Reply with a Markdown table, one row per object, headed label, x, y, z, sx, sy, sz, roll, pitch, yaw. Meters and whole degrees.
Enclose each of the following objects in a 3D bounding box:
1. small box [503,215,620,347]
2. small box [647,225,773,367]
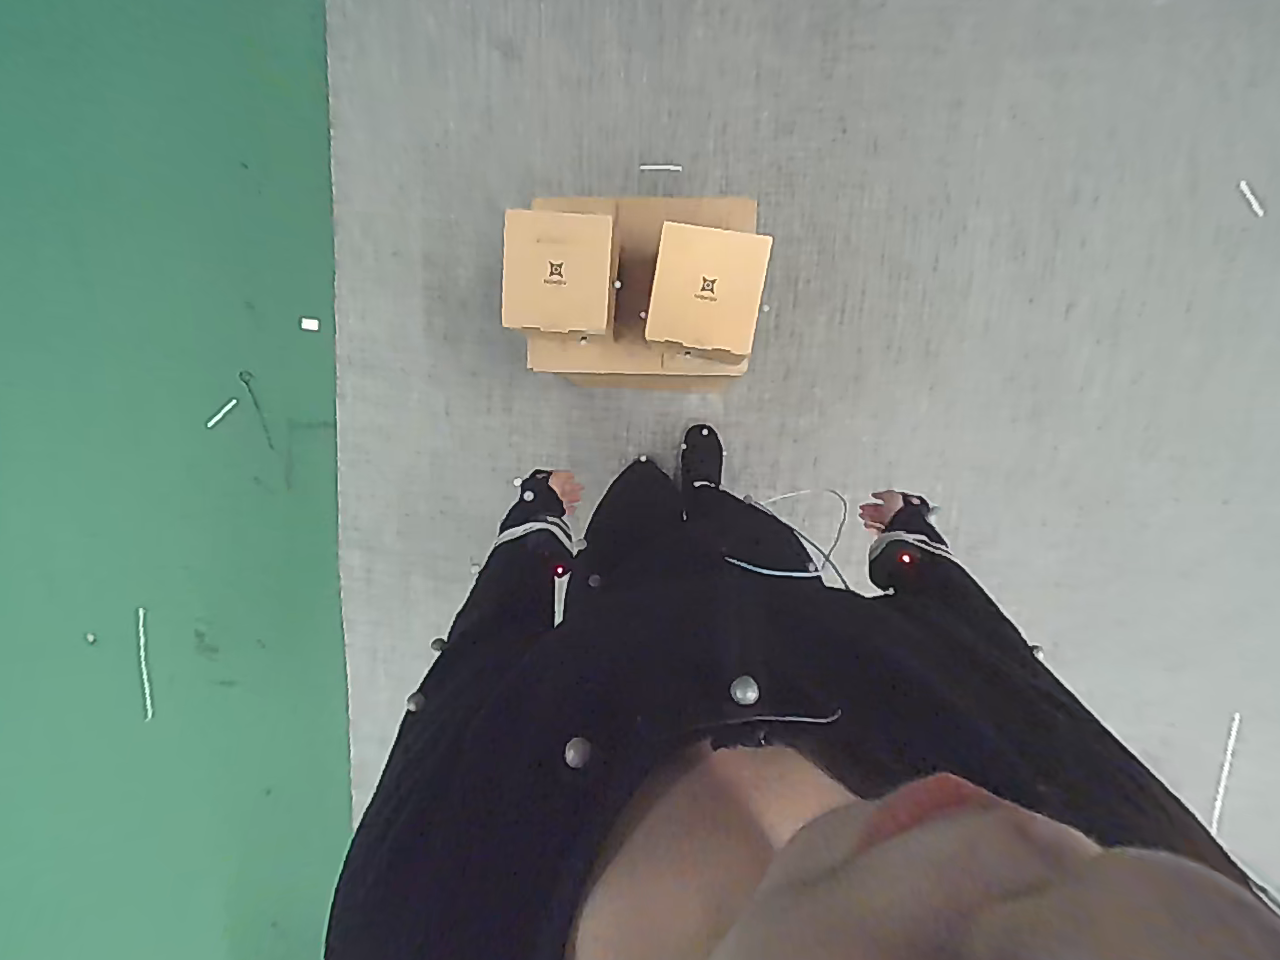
| label | x | y | z | sx | sy | sz | roll | pitch | yaw |
| --- | --- | --- | --- | --- | --- | --- | --- | --- | --- |
| small box | -0.123 | -0.321 | 0.903 | 0.168 | 0.176 | 0.179 | 4 | 98 | 1 |
| small box | 0.109 | -0.291 | 0.889 | 0.168 | 0.176 | 0.179 | 10 | 98 | 4 |
